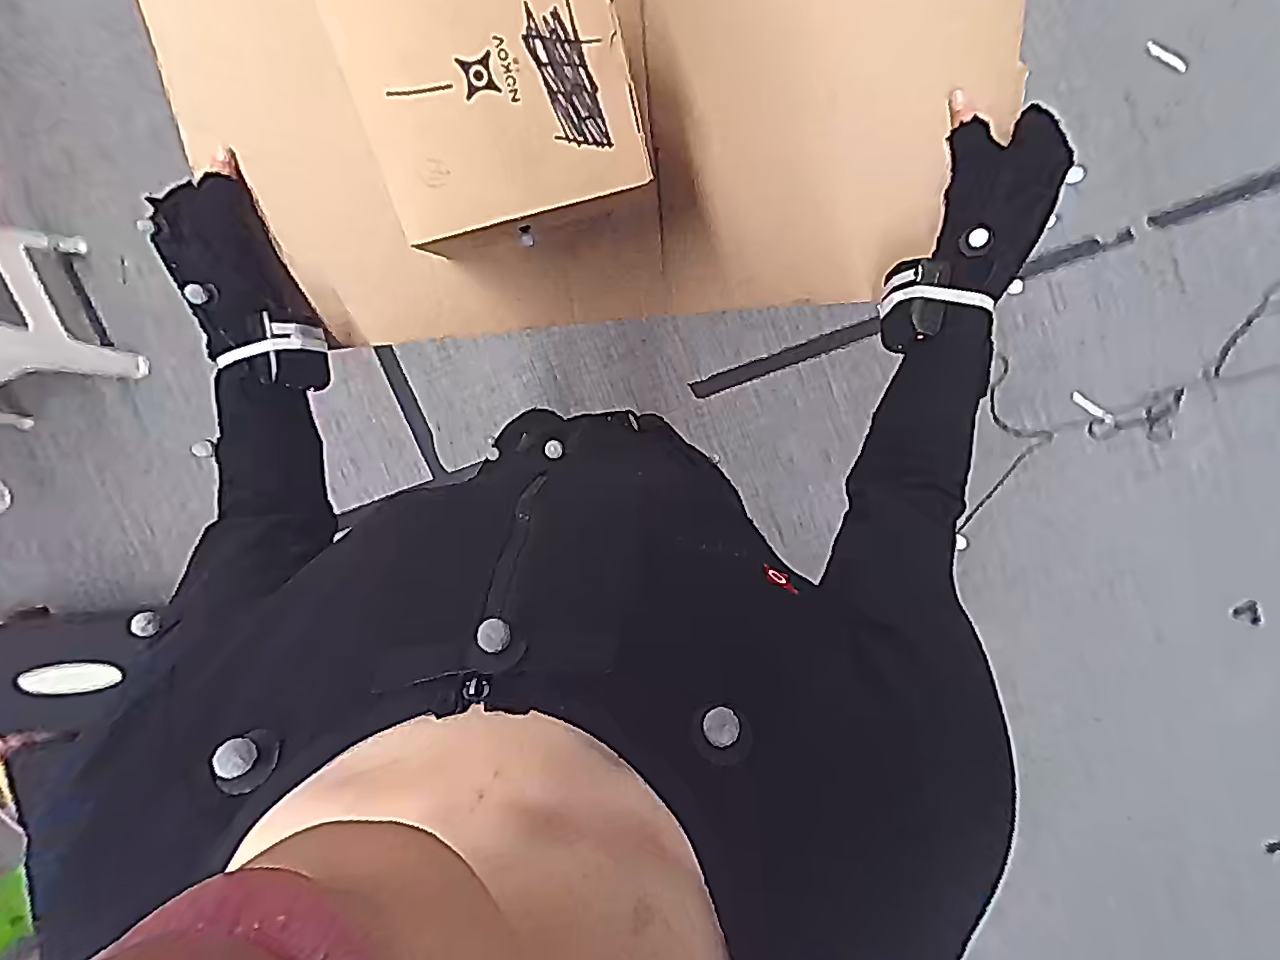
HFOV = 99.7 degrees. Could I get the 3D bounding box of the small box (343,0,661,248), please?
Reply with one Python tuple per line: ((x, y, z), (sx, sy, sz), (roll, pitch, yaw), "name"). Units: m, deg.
((-0.100, -0.289, 0.425), (0.179, 0.176, 0.168), (-16, 112, -5), "small box")
